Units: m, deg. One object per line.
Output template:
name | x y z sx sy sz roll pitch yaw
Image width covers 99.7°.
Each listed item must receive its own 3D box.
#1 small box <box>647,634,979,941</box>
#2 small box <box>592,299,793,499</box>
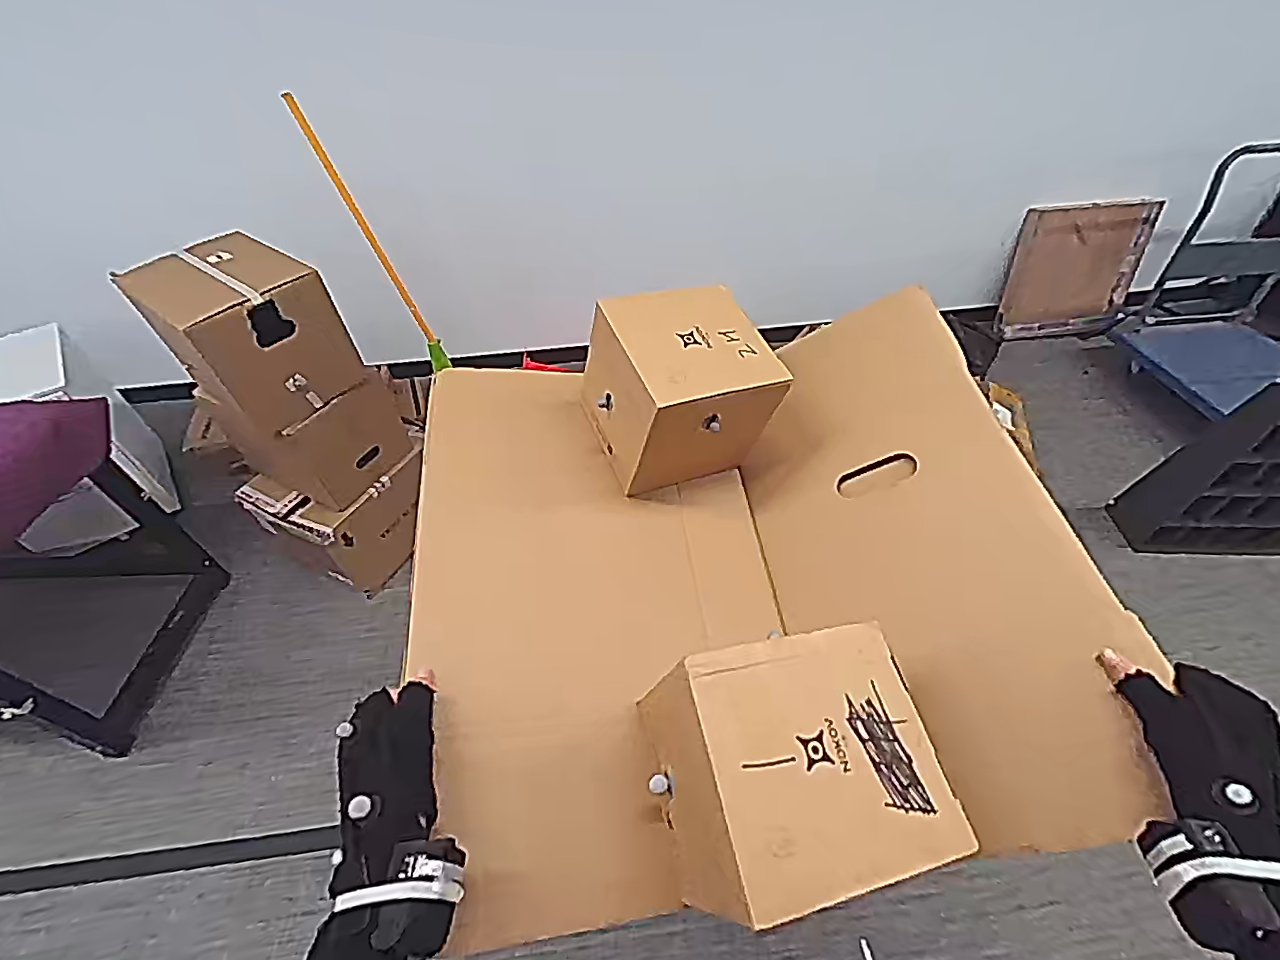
small box | 0.119 0.243 0.451 0.179 0.176 0.168 -5 58 -16
small box | 0.048 -0.096 0.667 0.179 0.176 0.168 -14 61 -23
